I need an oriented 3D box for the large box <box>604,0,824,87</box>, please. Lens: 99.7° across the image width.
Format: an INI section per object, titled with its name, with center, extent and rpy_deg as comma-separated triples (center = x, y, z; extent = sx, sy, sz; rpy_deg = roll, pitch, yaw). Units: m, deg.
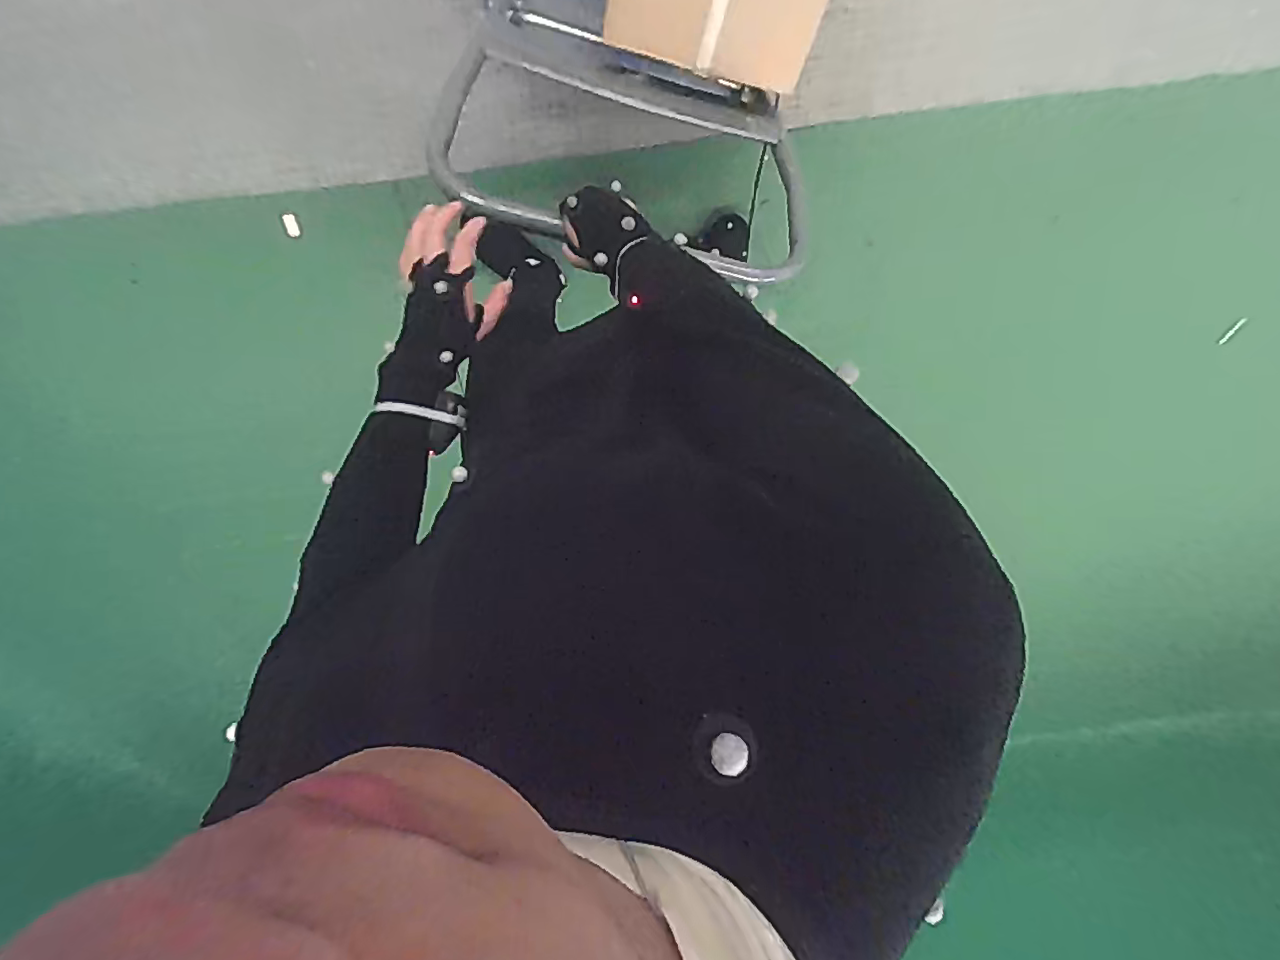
[large box]
center = 0.133, -0.880, 0.788
extent = 0.320, 0.320, 0.408
rpy_deg = 7, 138, -11
